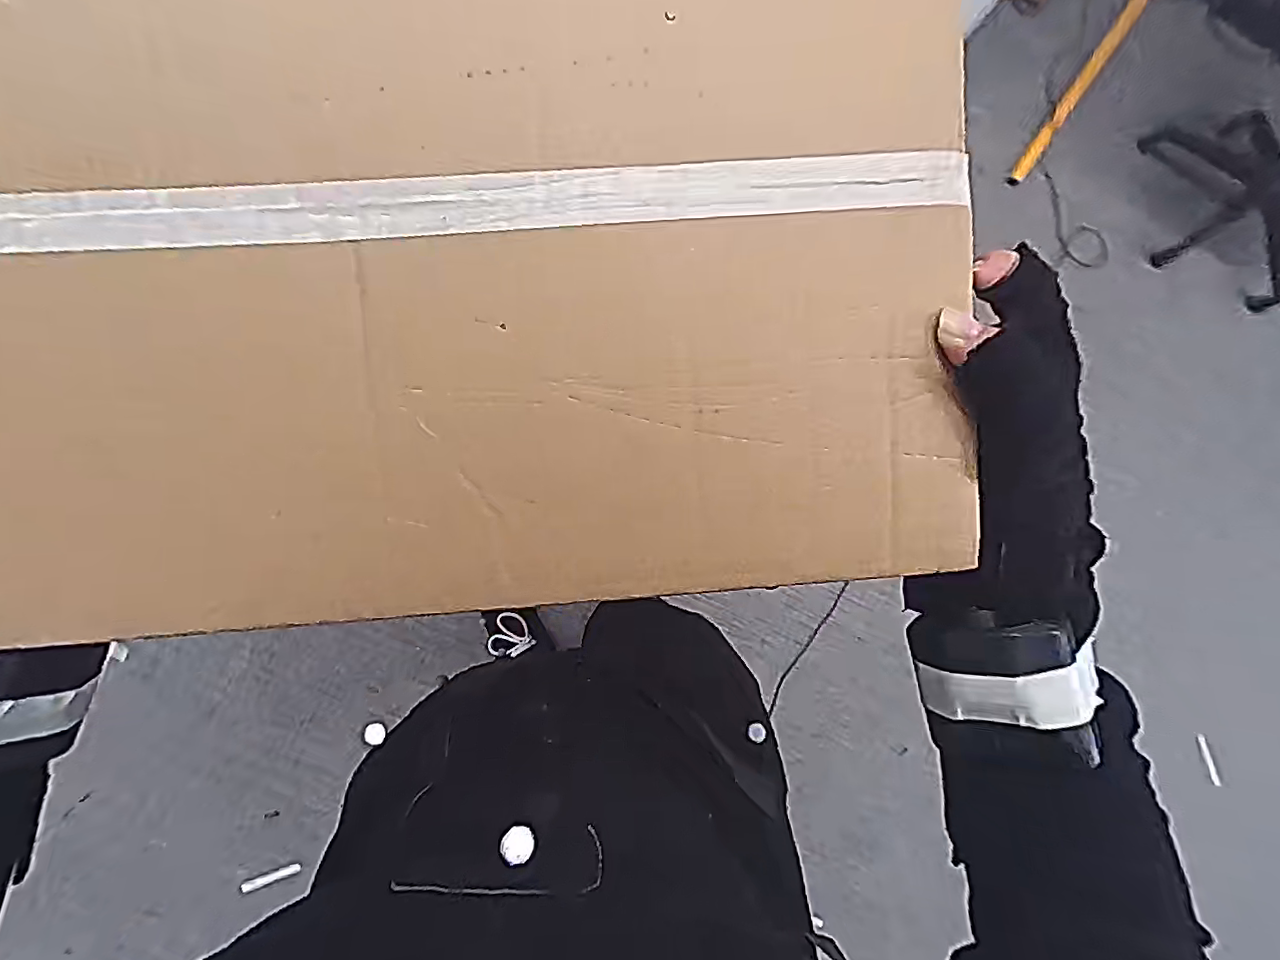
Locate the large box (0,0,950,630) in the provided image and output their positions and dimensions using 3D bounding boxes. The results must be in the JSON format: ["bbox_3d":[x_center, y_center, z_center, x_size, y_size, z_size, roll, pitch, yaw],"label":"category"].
[{"bbox_3d":[-0.075,-0.116,0.367,0.408,0.320,0.320,-3,94,-3],"label":"large box"}]
